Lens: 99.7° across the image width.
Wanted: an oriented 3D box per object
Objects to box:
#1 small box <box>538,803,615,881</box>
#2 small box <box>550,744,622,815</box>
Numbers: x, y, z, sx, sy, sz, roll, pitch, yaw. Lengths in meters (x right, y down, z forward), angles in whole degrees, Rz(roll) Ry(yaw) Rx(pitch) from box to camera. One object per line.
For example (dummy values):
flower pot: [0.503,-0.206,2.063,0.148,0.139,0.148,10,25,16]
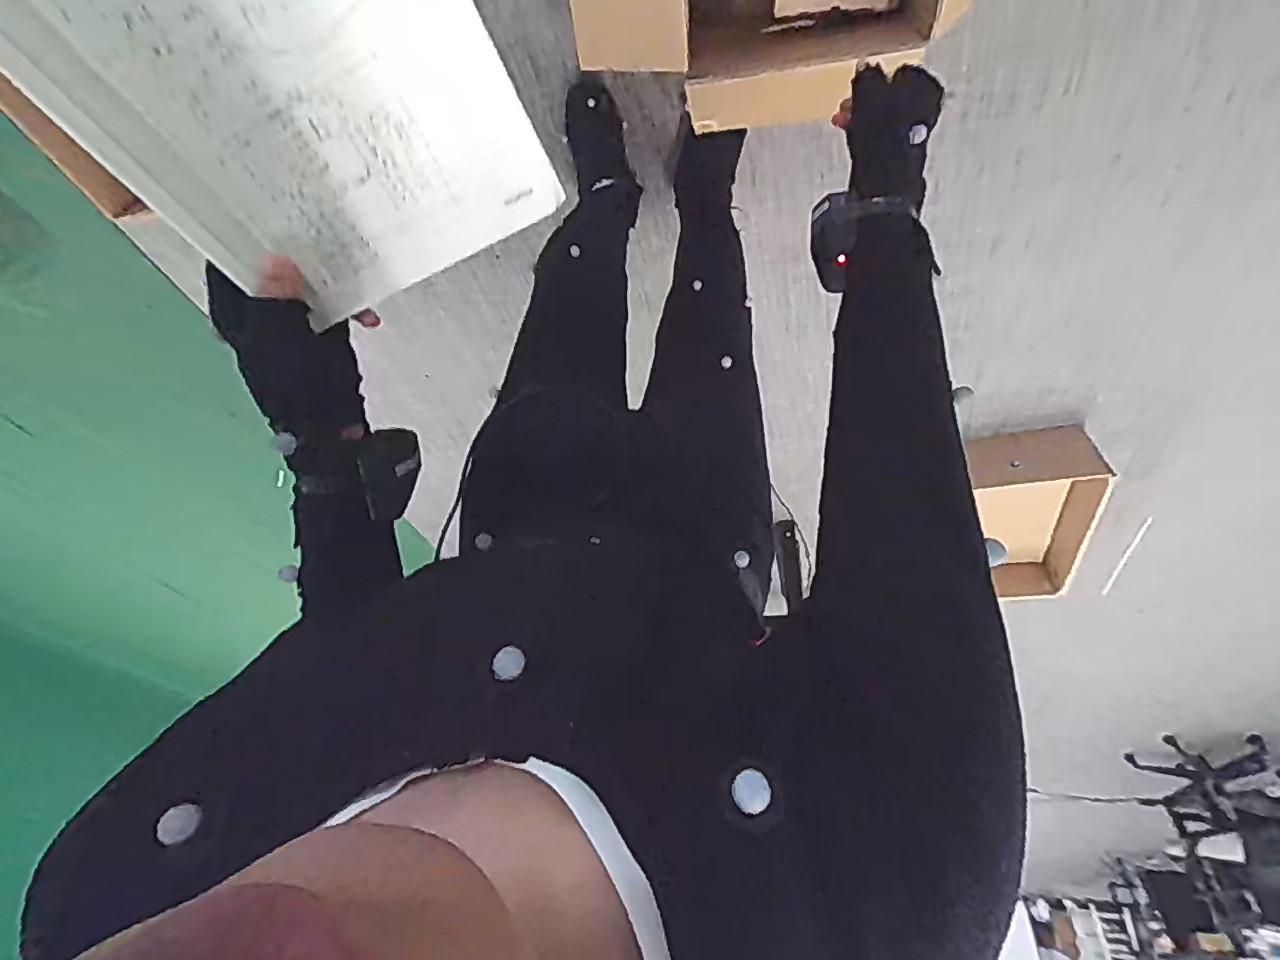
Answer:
small box: [-0.180,1.075,1.608,0.168,0.176,0.179,-6,139,14]
small box: [-0.164,0.945,1.709,0.168,0.176,0.179,-8,139,16]
